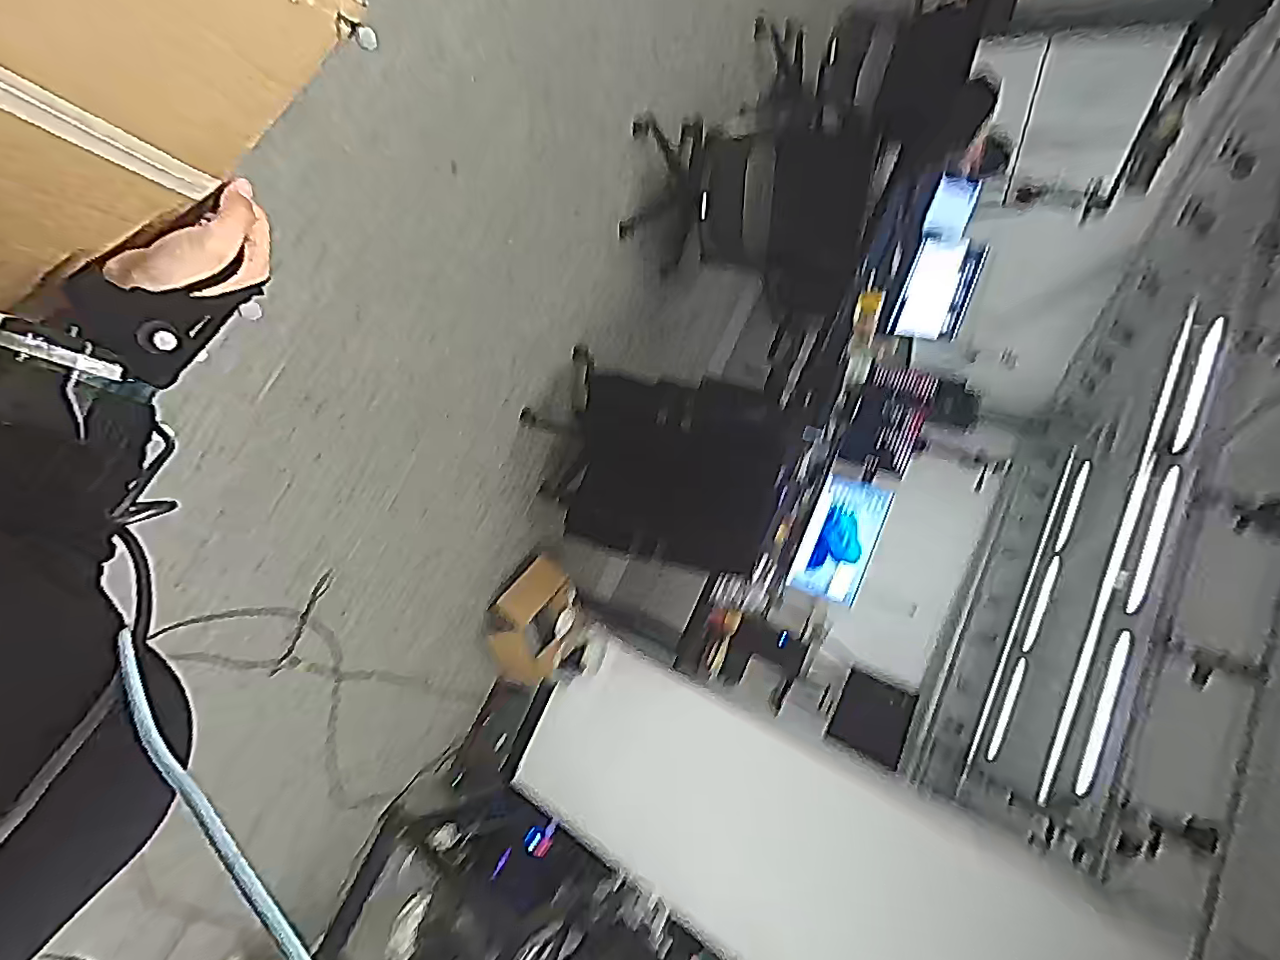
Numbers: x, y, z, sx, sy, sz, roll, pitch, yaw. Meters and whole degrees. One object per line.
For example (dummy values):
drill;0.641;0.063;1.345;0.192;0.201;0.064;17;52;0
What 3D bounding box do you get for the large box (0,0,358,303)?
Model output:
large box;-0.409;-0.340;0.200;0.320;0.320;0.408;-34;167;17
